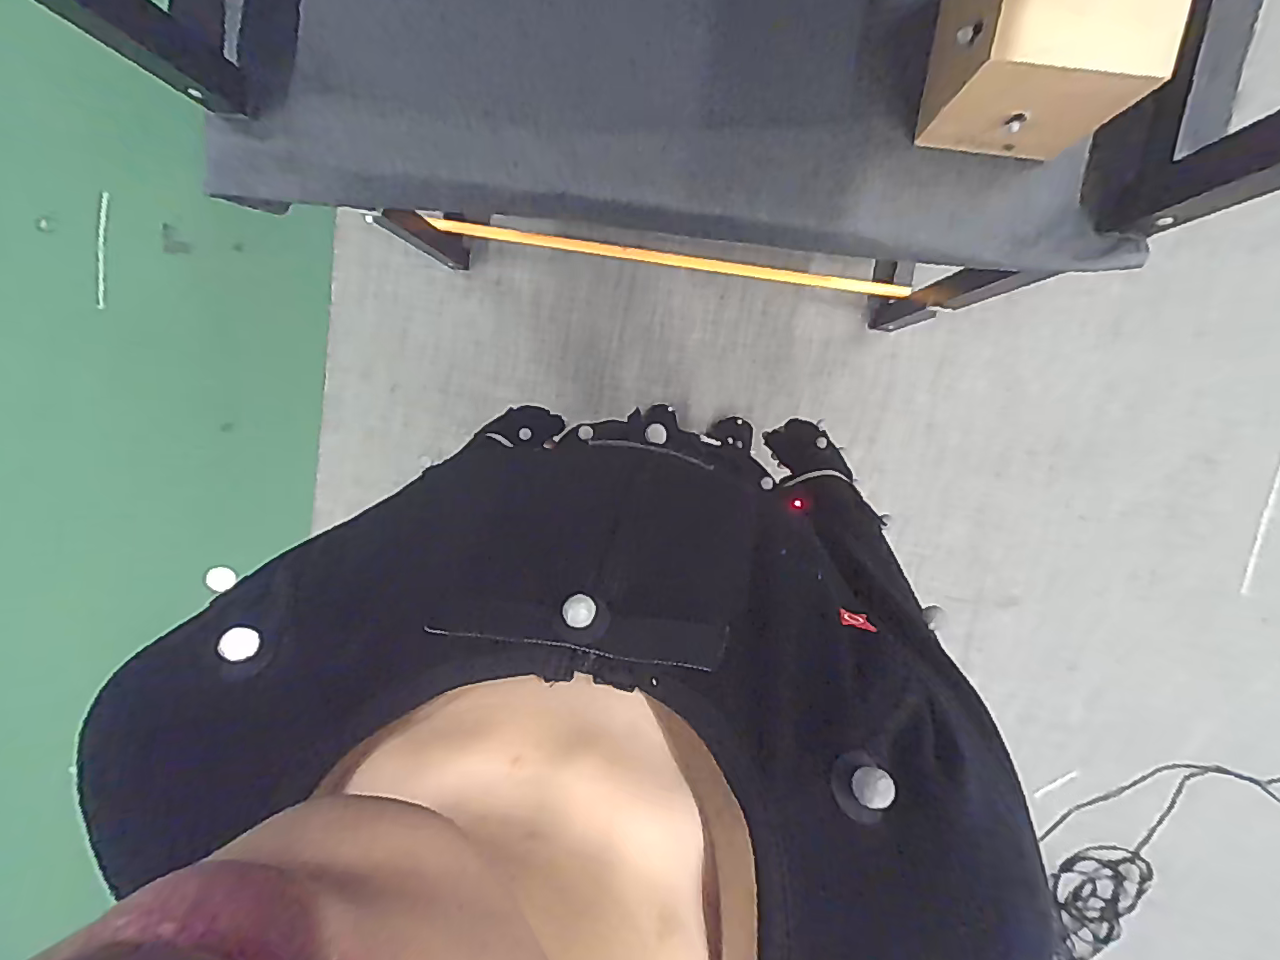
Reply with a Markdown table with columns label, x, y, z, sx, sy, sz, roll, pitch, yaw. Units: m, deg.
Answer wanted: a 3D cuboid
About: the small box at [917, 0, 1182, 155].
| label | x | y | z | sx | sy | sz | roll | pitch | yaw |
| --- | --- | --- | --- | --- | --- | --- | --- | --- | --- |
| small box | 0.422 | -0.478 | 0.573 | 0.168 | 0.176 | 0.179 | 9 | 97 | 2 |
